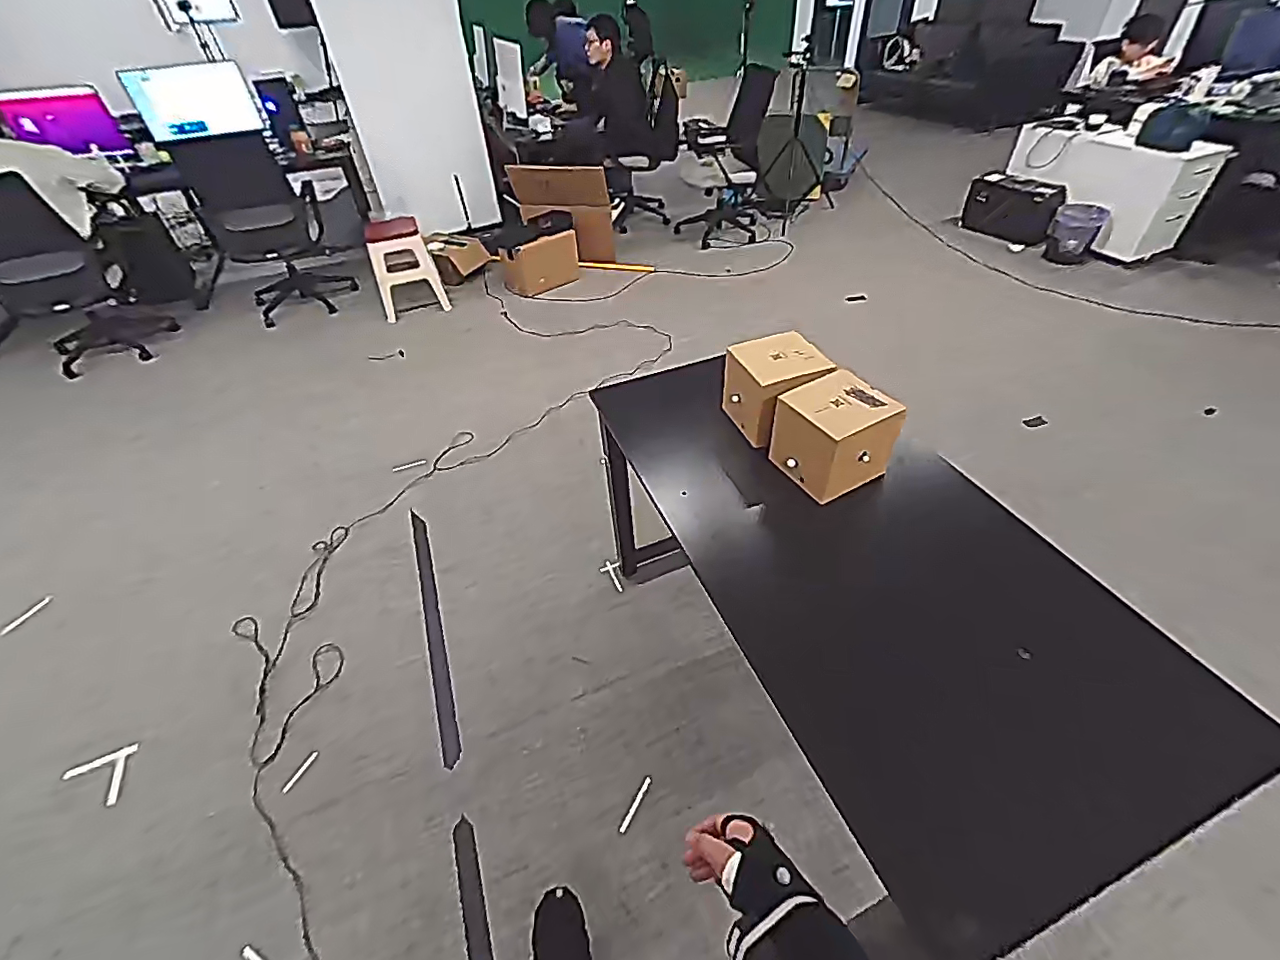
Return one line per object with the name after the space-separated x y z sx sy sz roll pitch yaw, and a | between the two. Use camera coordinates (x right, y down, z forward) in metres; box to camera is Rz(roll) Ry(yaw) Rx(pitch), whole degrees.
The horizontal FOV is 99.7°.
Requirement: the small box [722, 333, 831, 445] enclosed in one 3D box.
0.296 -0.200 1.210 0.179 0.176 0.168 -16 45 -12 | small box
